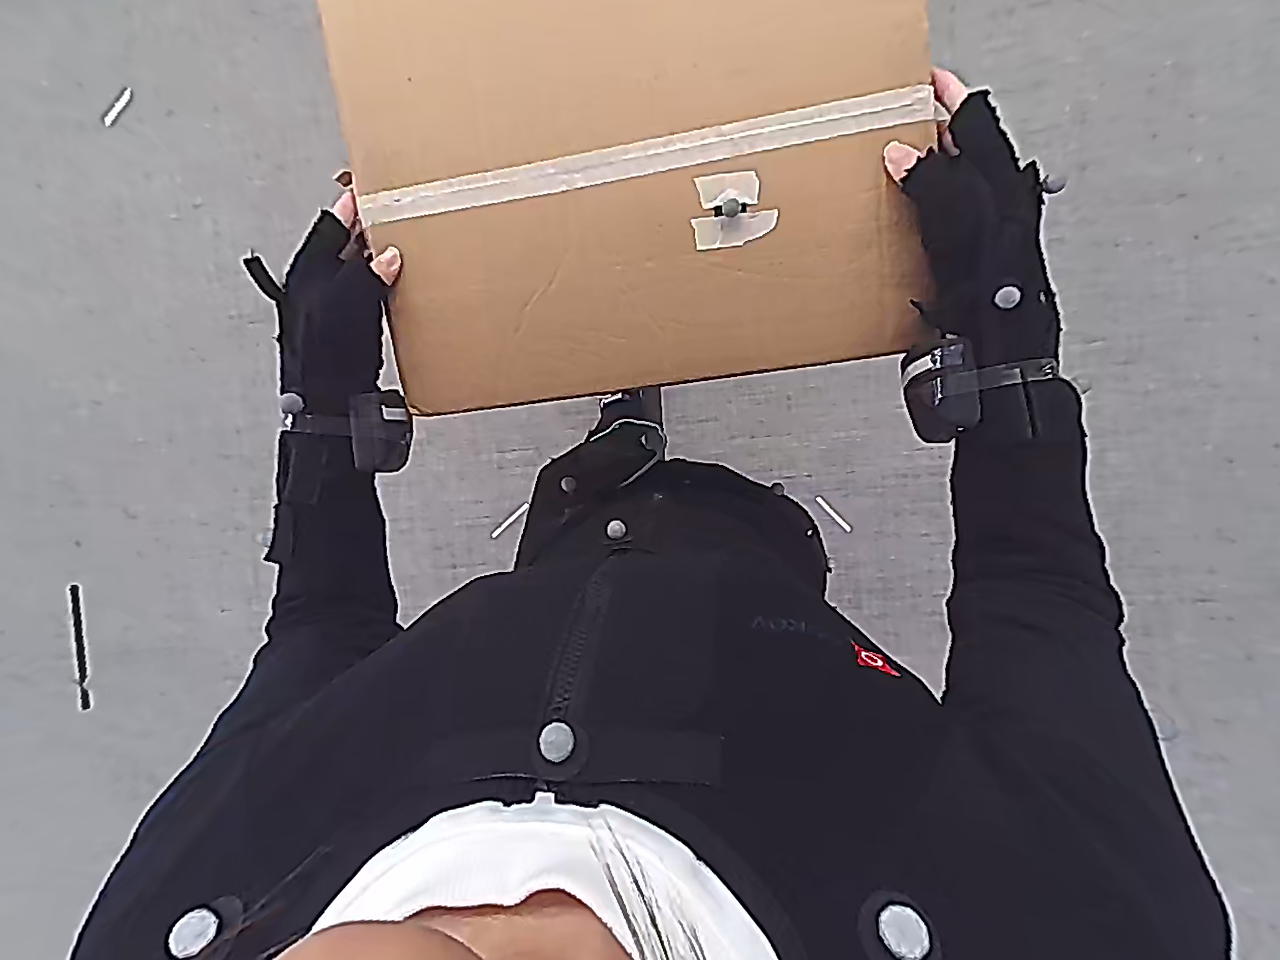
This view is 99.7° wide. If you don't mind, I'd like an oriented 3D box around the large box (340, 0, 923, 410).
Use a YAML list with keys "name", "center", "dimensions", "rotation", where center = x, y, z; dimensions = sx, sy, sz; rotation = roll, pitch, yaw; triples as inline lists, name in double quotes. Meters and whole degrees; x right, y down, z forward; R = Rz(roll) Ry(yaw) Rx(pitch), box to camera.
- name: "large box"
  center: [0.007, -0.260, 0.543]
  dimensions: [0.408, 0.320, 0.320]
  rotation: [-7, 101, 7]
